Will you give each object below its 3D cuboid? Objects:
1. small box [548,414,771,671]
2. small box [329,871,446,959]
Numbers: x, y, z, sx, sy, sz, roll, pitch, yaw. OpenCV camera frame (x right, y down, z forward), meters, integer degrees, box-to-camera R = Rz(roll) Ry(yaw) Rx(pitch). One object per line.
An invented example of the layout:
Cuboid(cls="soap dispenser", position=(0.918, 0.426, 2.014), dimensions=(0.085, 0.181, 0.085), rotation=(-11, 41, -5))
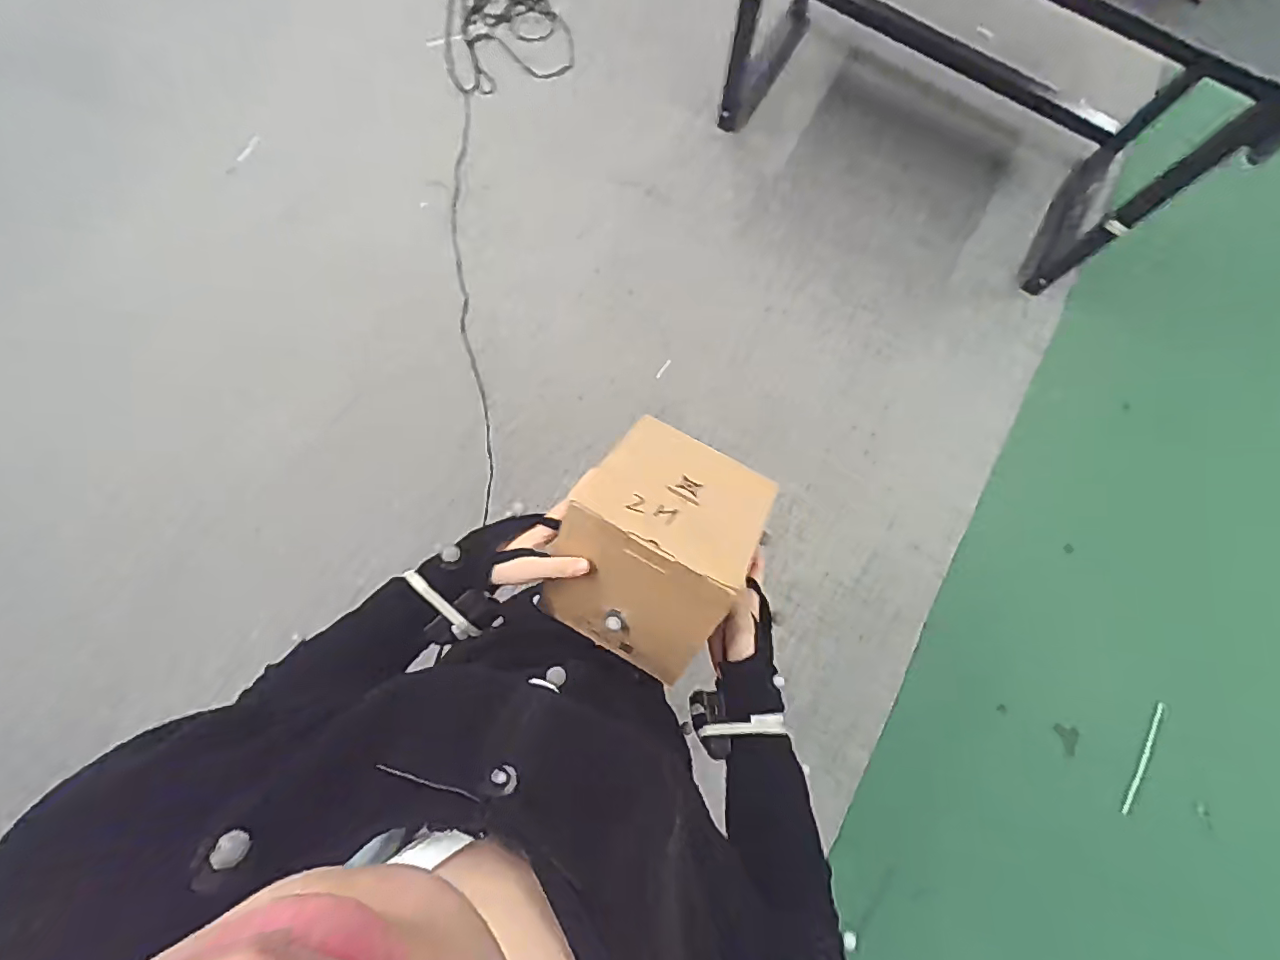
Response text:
Cuboid(cls="small box", position=(0.018, 0.065, 0.582), dimensions=(0.168, 0.176, 0.179), rotation=(27, 41, 6))
Cuboid(cls="small box", position=(-0.593, 1.071, 1.274), dimensions=(0.179, 0.176, 0.168), rotation=(25, 80, 2))
